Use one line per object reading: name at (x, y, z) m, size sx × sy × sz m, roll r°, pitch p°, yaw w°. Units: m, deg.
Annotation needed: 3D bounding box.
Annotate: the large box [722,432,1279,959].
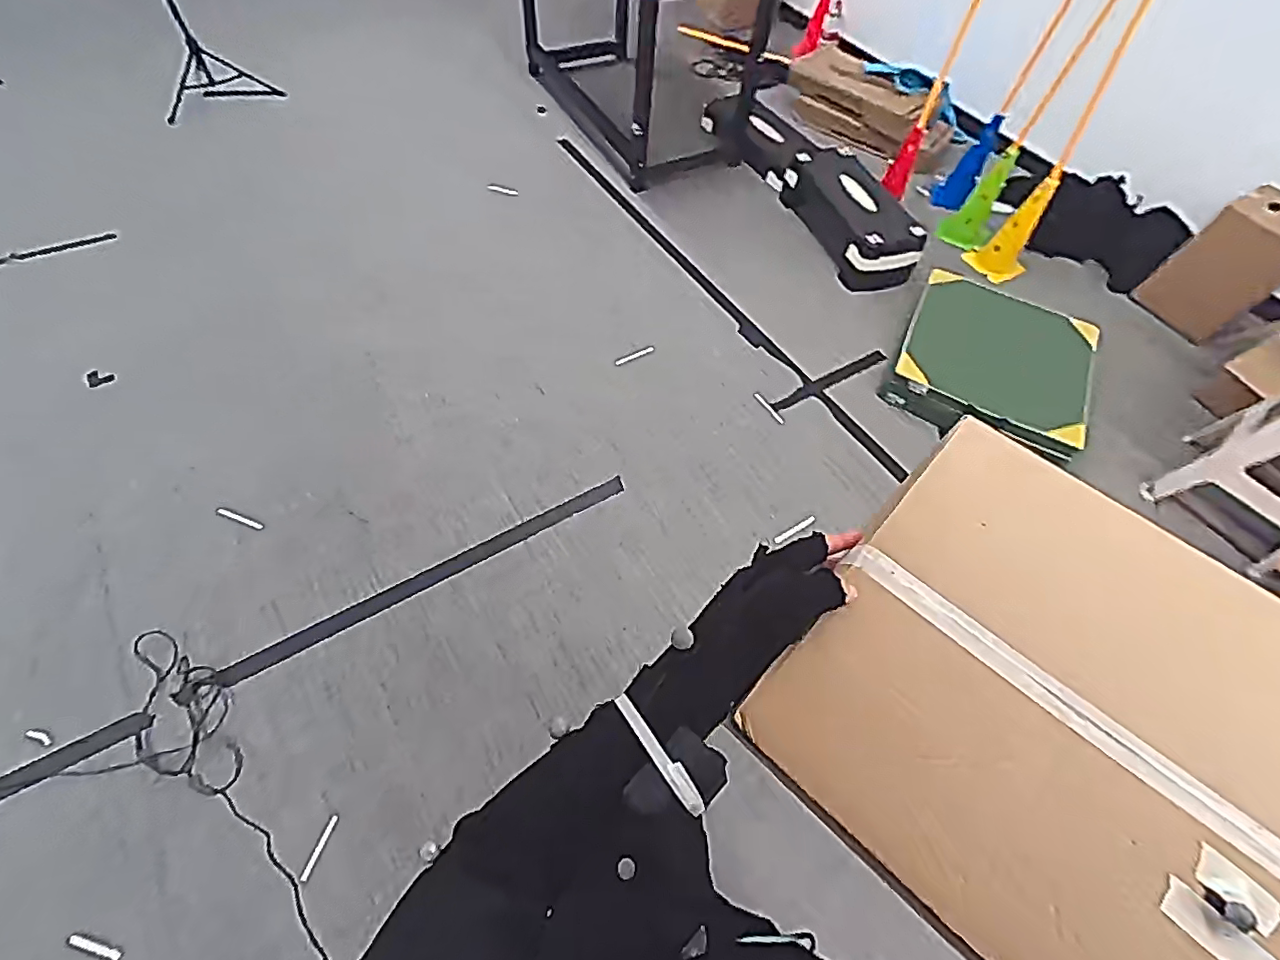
large box at (0.329, 0.235, 0.496) m, size 0.408 × 0.320 × 0.320 m, roll 39°, pitch 77°, yaw 20°
